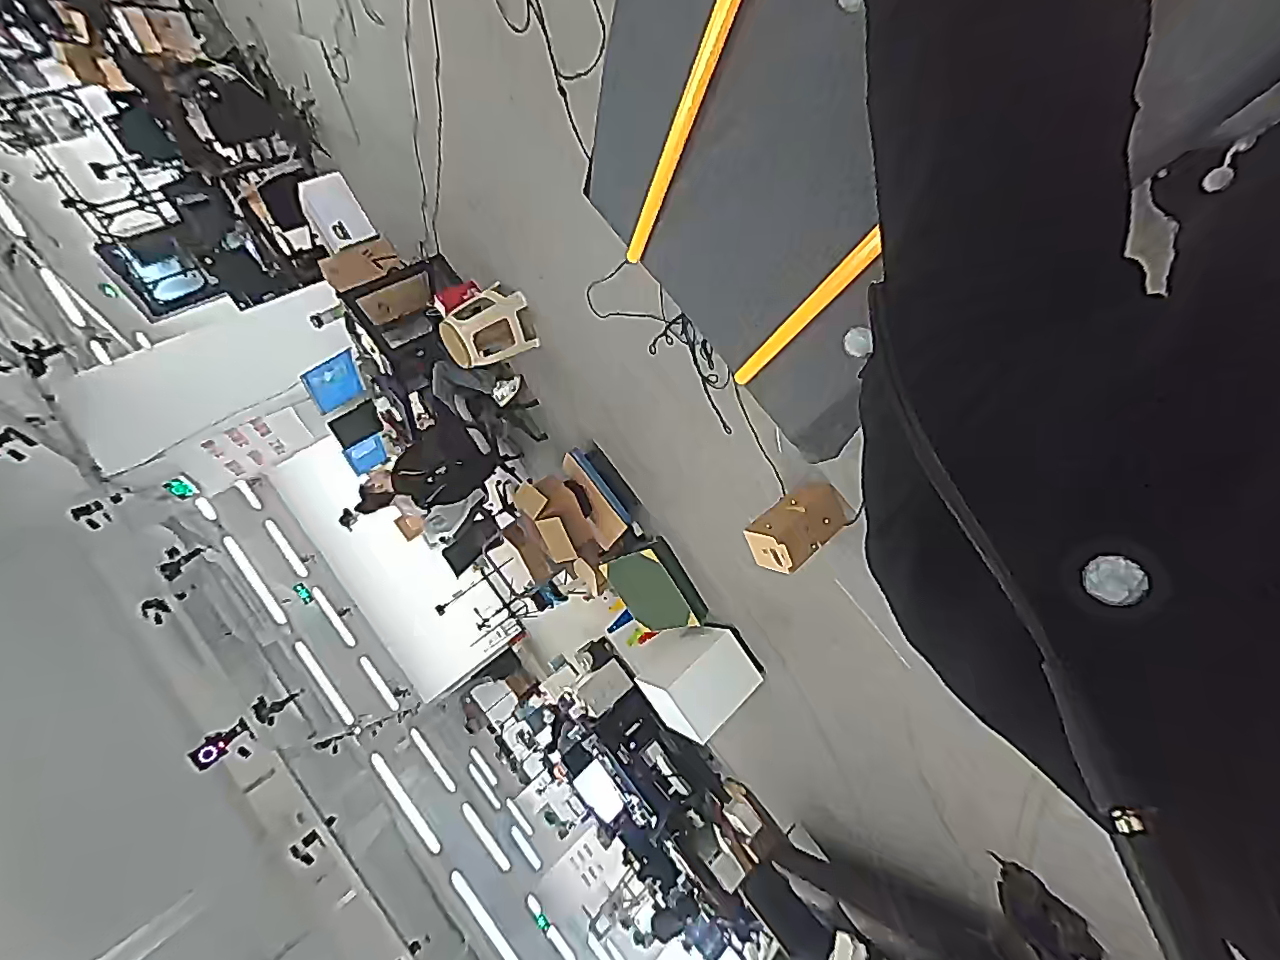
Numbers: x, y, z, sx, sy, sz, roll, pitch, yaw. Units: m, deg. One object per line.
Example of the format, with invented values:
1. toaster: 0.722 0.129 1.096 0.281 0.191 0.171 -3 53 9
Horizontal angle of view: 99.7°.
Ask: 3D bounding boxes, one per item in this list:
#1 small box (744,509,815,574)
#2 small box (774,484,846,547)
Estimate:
1. small box: 0.527 0.221 2.010 0.179 0.176 0.168 8 128 59
2. small box: 0.654 0.133 2.069 0.168 0.176 0.179 -1 120 61
